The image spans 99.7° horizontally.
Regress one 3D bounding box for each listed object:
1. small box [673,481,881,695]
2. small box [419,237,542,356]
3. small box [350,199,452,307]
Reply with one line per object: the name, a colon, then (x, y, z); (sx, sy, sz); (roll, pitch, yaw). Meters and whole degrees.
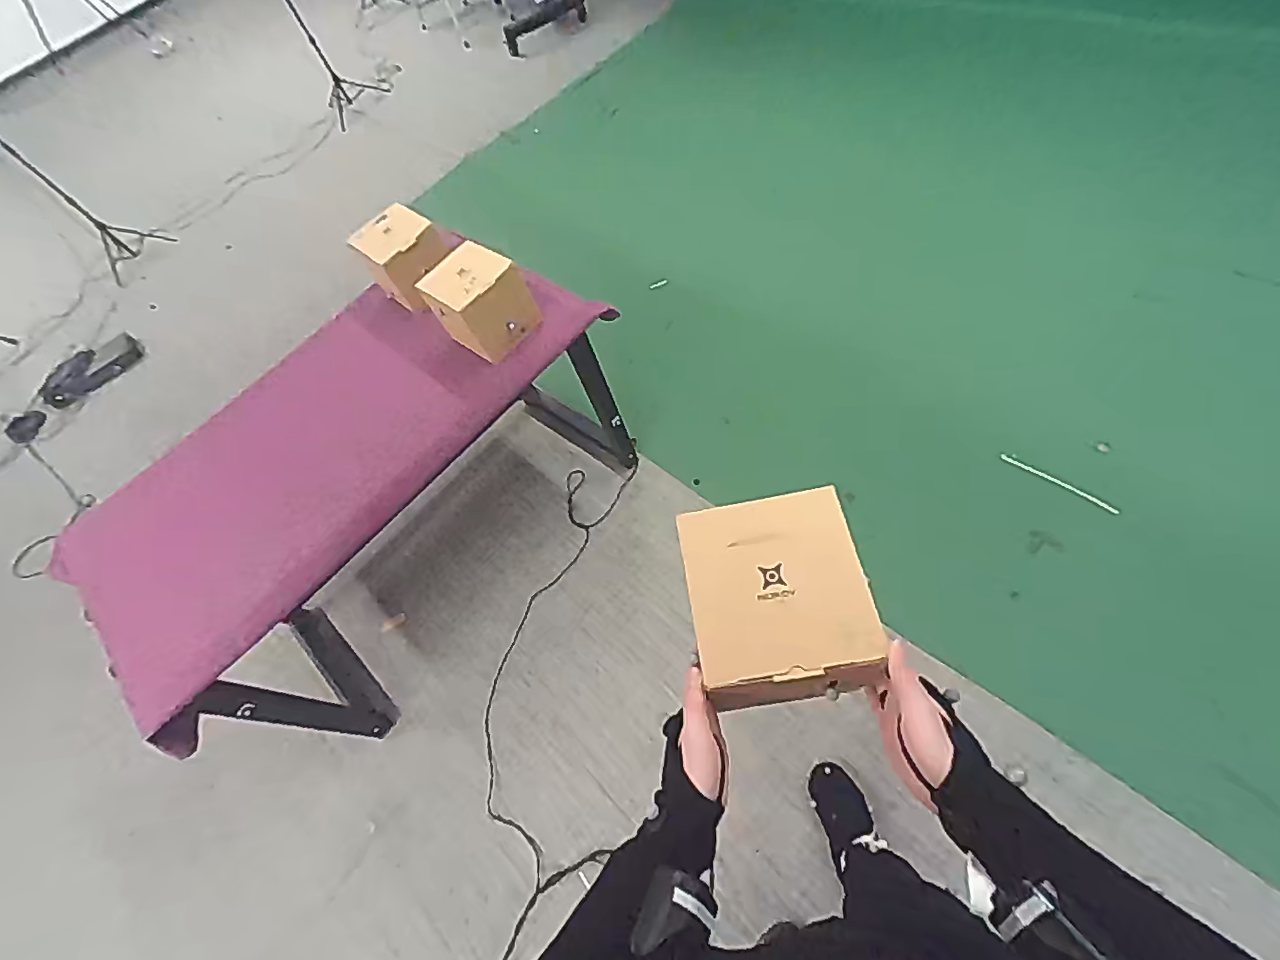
small box: (0.136, 0.127, 0.583); (0.168, 0.176, 0.179); (-10, 59, 5)
small box: (-0.359, -0.414, 1.237); (0.179, 0.176, 0.168); (35, 75, 28)
small box: (-0.588, -0.573, 1.384); (0.179, 0.176, 0.168); (38, 75, 26)
